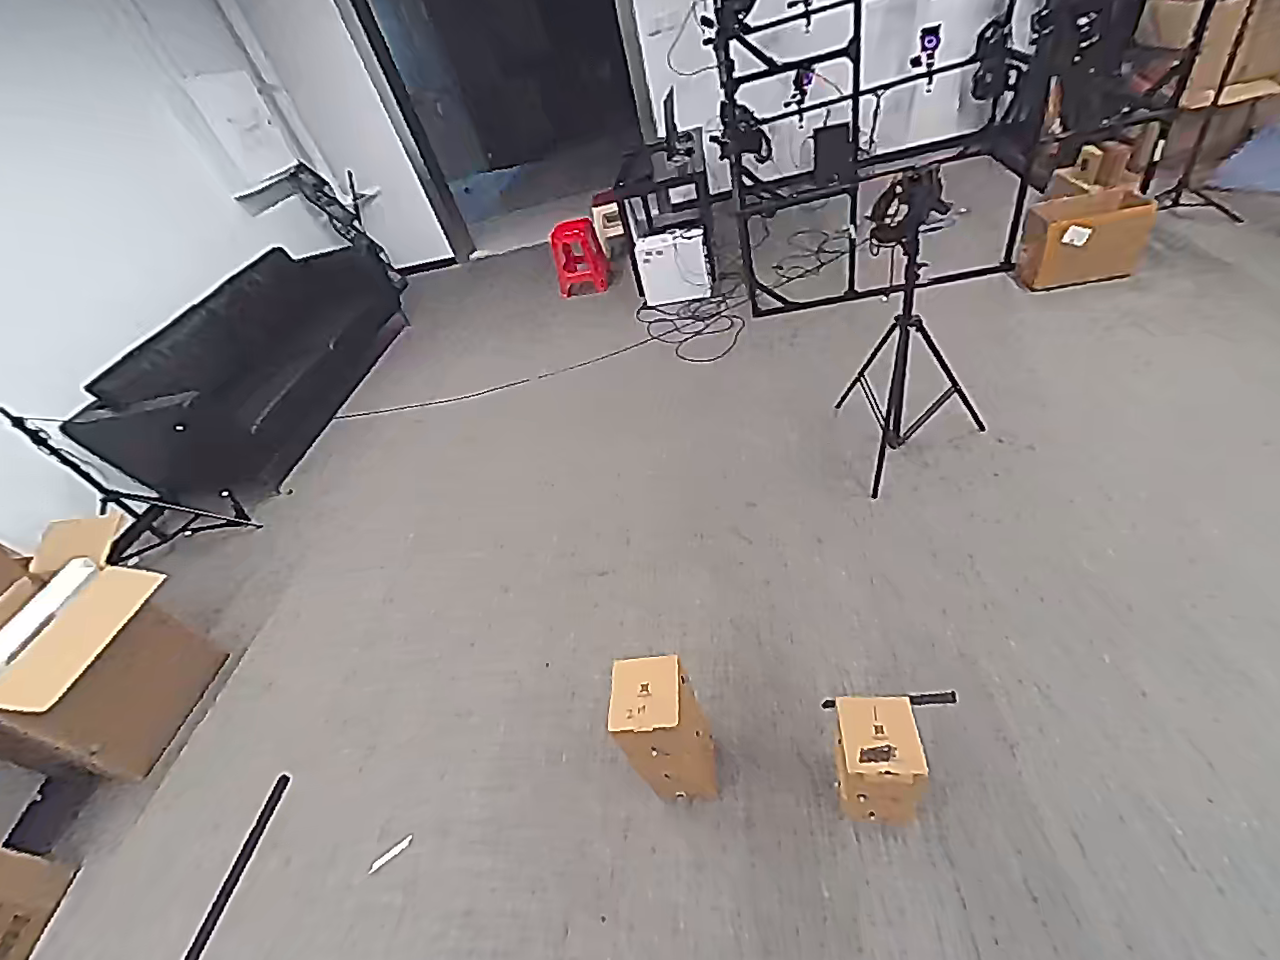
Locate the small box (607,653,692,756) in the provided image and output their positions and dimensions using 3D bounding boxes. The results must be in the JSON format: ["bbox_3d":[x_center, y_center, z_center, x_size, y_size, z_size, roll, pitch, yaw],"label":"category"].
[{"bbox_3d":[0.028,0.545,1.311,0.168,0.176,0.179,-10,42,12],"label":"small box"}]

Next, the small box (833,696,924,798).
[{"bbox_3d":[0.554,0.631,1.275,0.168,0.176,0.179,-6,42,13],"label":"small box"}]

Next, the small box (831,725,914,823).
[{"bbox_3d":[0.586,0.750,1.383,0.168,0.176,0.179,-6,43,14],"label":"small box"}]

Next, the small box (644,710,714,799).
[{"bbox_3d":[0.114,0.776,1.527,0.168,0.176,0.179,-9,41,12],"label":"small box"}]
